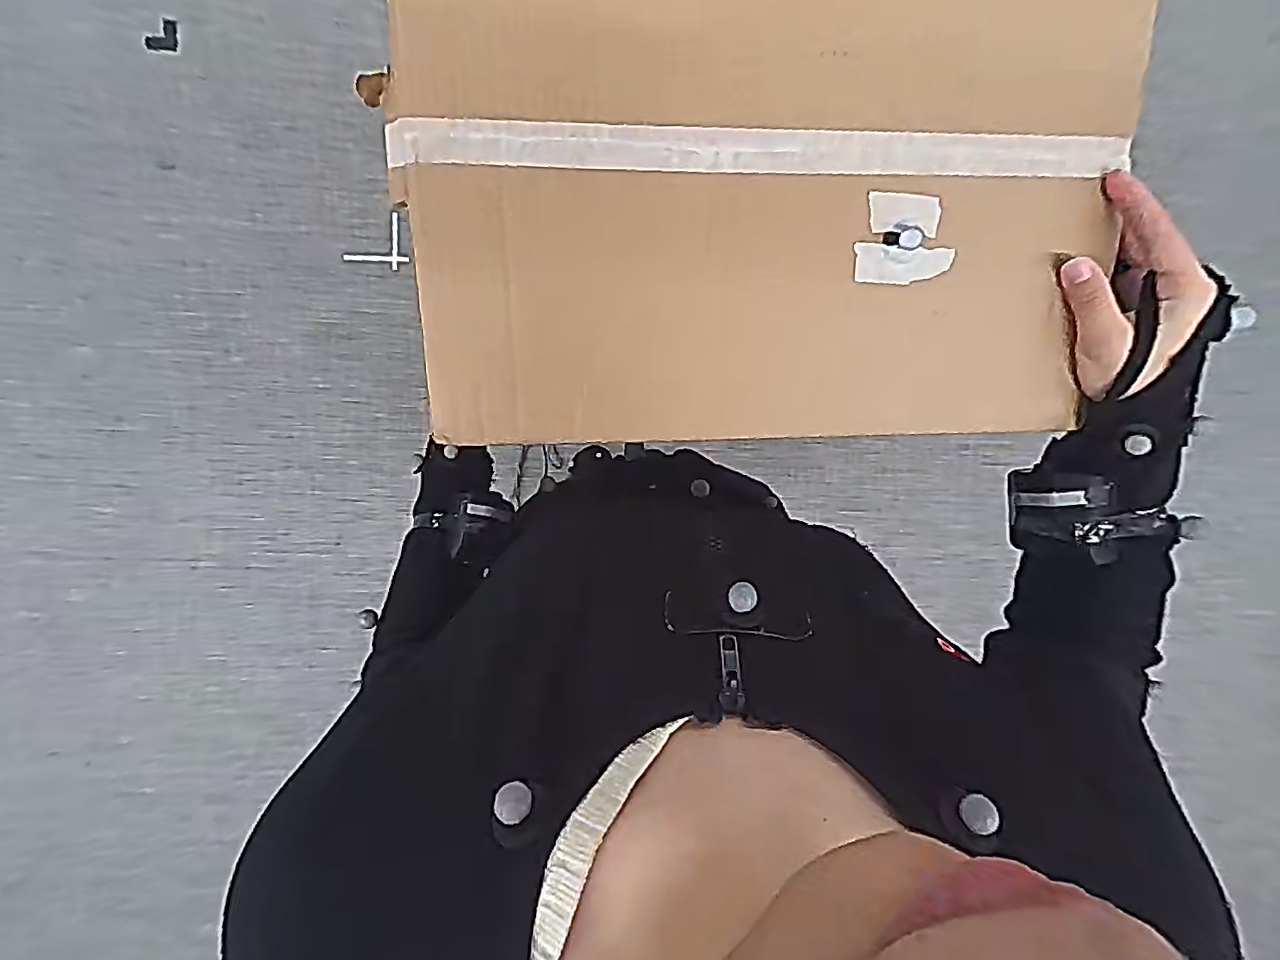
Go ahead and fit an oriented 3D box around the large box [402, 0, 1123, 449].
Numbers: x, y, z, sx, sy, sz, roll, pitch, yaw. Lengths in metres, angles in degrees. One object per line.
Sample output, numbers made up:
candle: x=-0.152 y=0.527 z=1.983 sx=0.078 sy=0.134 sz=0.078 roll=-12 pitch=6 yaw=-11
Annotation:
large box: x=0.061 y=-0.210 z=0.451 sx=0.408 sy=0.320 sz=0.320 roll=-3 pitch=103 yaw=-7
